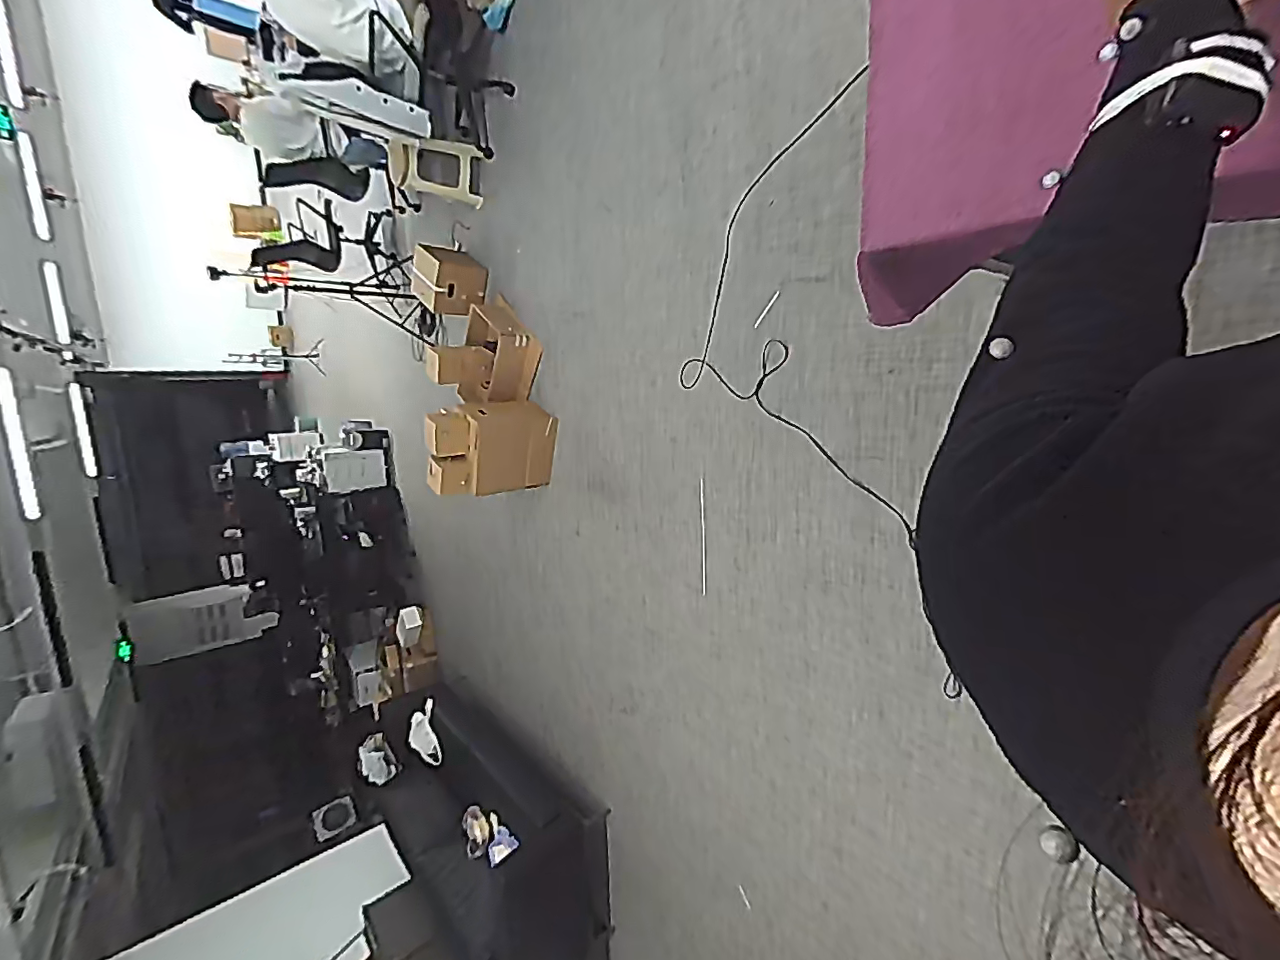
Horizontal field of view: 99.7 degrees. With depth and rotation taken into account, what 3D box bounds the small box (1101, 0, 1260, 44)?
[{"bbox_3d":[0.508,-0.535,0.463,0.168,0.176,0.179,12,105,49],"label":"small box"}]
